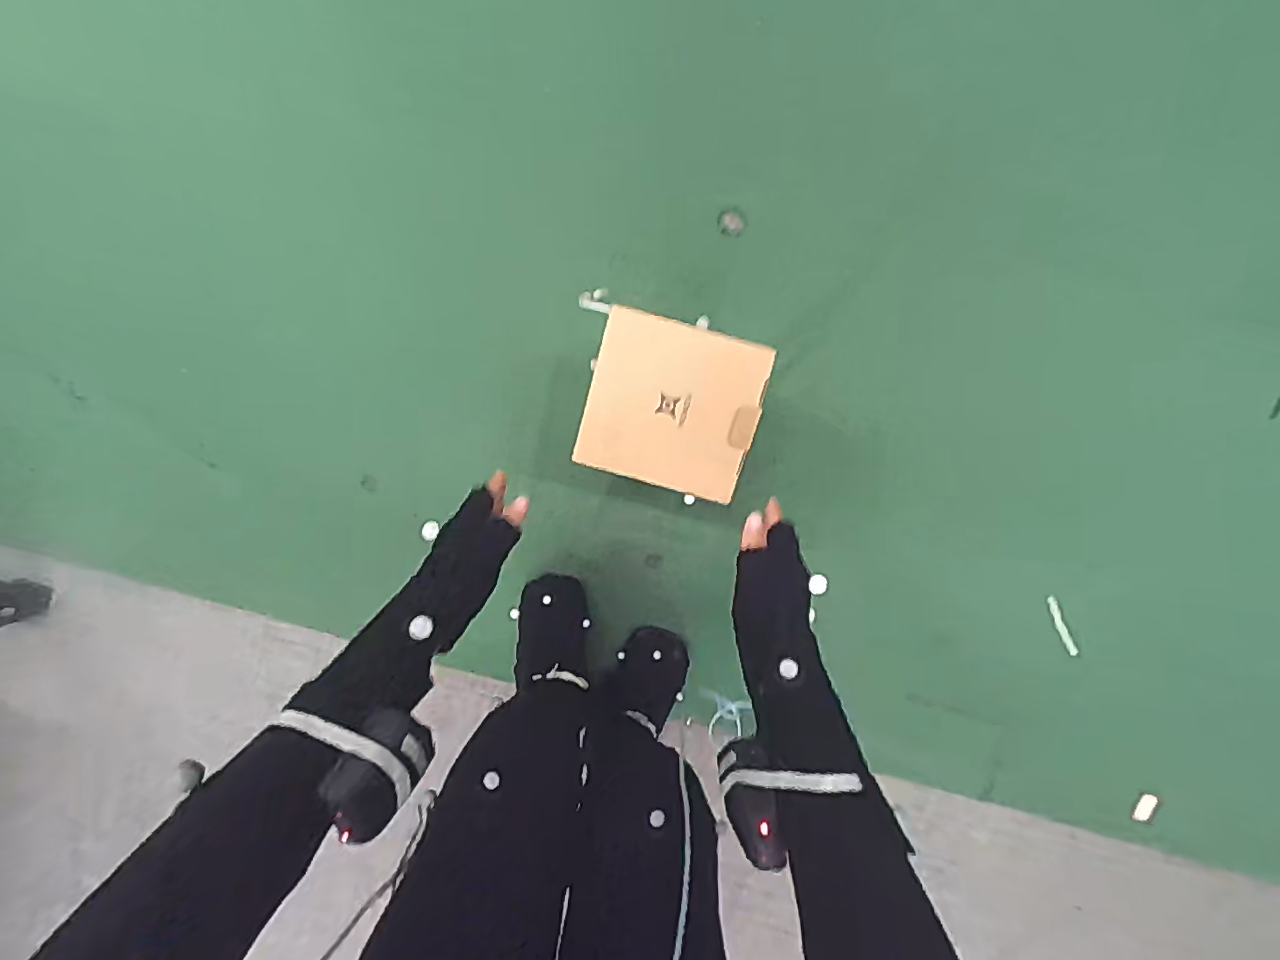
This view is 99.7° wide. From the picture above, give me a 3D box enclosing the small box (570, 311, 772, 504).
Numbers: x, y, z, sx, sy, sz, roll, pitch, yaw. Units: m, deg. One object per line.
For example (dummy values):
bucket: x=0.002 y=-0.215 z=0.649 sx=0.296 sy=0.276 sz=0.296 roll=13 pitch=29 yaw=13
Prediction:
small box: x=0.032 y=-0.082 z=0.637 sx=0.179 sy=0.176 sz=0.168 roll=15 pitch=97 yaw=-1
